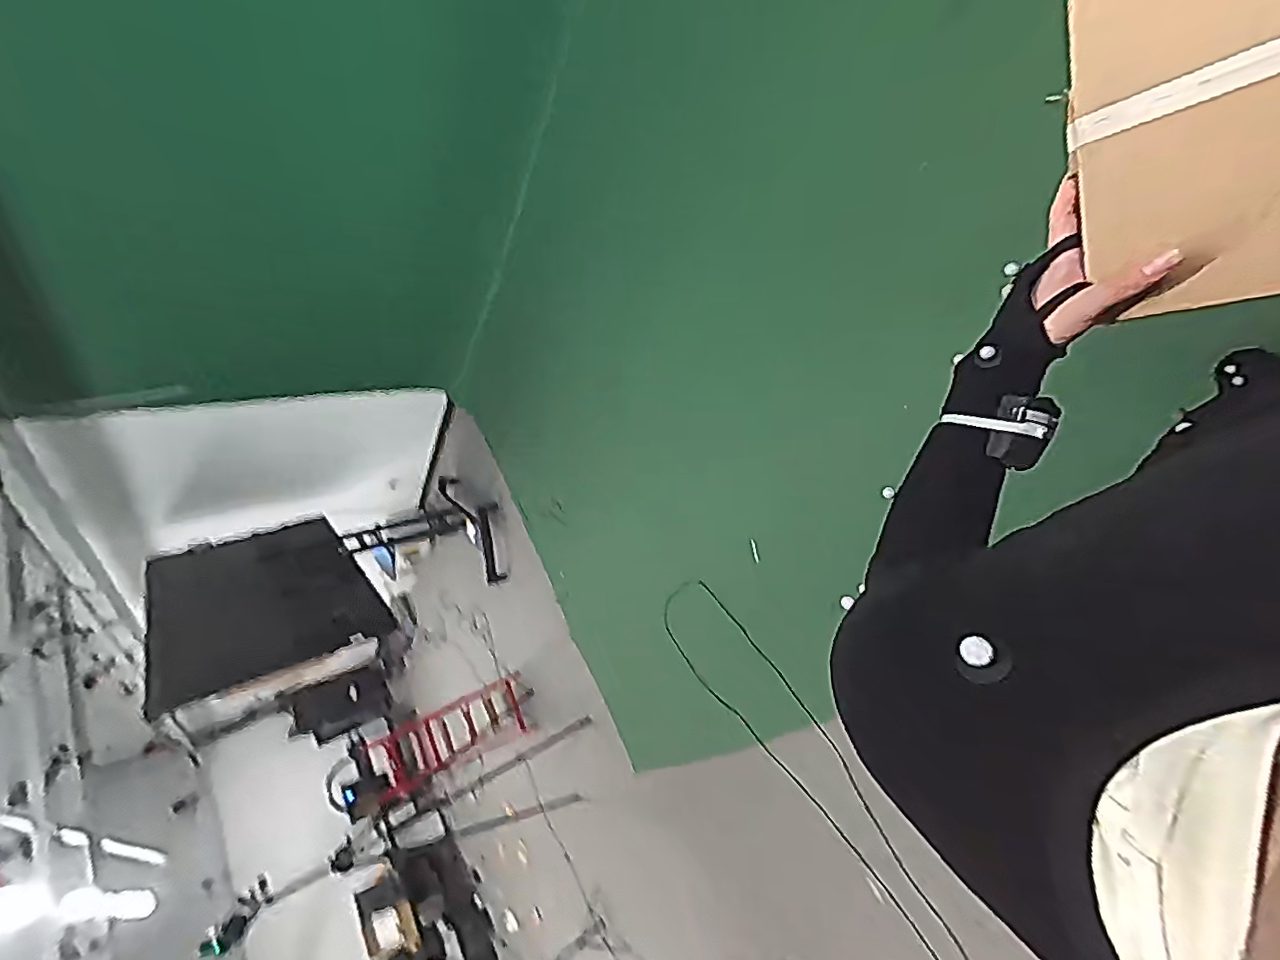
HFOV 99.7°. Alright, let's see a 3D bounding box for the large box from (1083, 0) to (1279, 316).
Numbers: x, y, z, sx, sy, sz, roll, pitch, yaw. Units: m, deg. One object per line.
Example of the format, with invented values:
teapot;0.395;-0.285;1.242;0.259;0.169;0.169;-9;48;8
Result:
large box;0.607;-0.326;0.388;0.408;0.320;0.320;1;107;49
